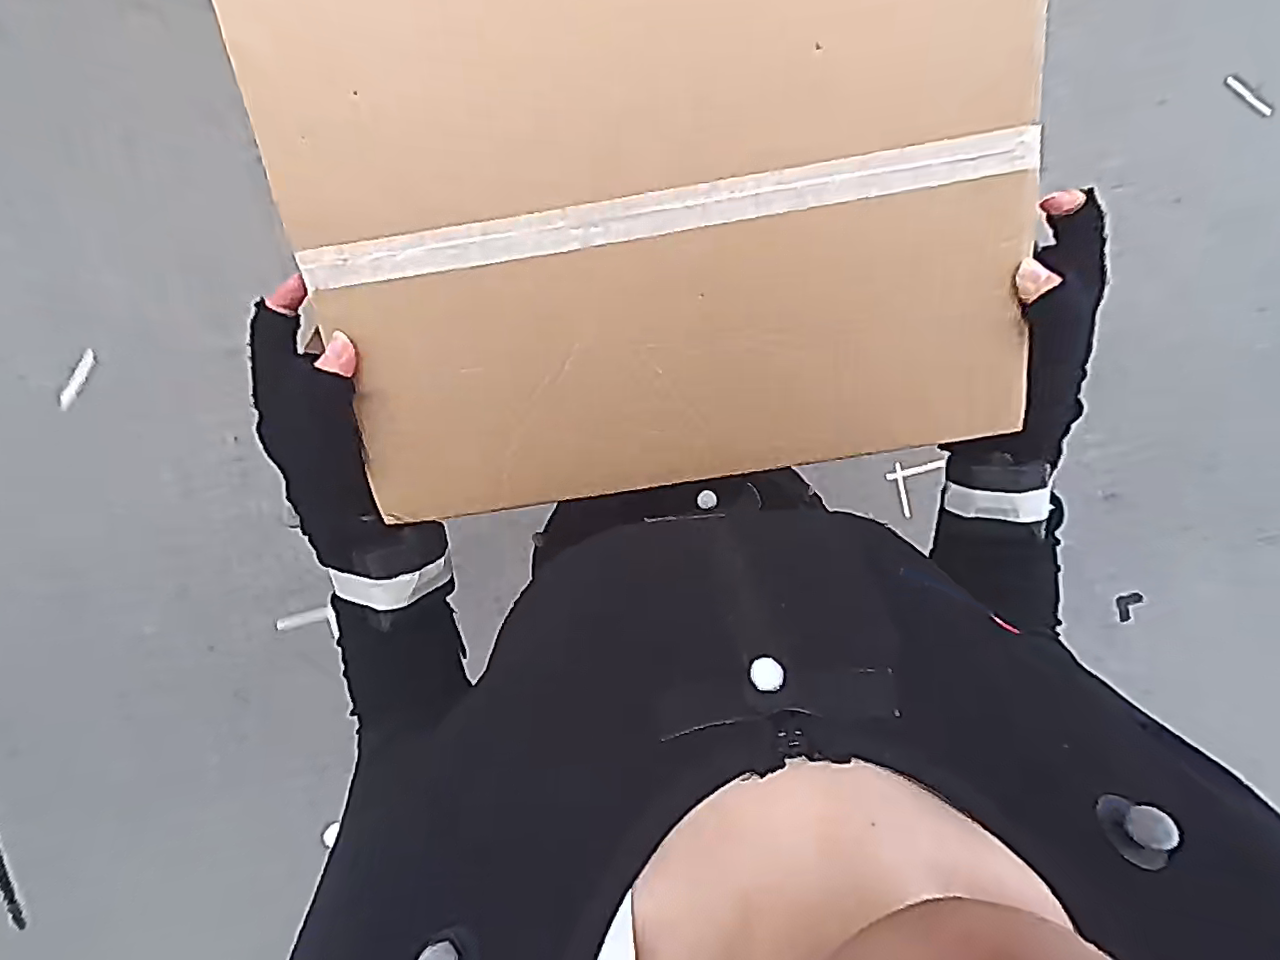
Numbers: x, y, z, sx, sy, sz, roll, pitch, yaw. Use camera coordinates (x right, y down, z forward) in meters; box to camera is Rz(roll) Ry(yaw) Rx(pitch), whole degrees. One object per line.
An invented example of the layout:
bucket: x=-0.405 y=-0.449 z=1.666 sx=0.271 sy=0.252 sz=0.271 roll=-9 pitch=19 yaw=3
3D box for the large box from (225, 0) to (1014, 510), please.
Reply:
large box: x=0.005 y=-0.200 z=0.447 sx=0.408 sy=0.320 sz=0.320 roll=-8 pitch=108 yaw=1
